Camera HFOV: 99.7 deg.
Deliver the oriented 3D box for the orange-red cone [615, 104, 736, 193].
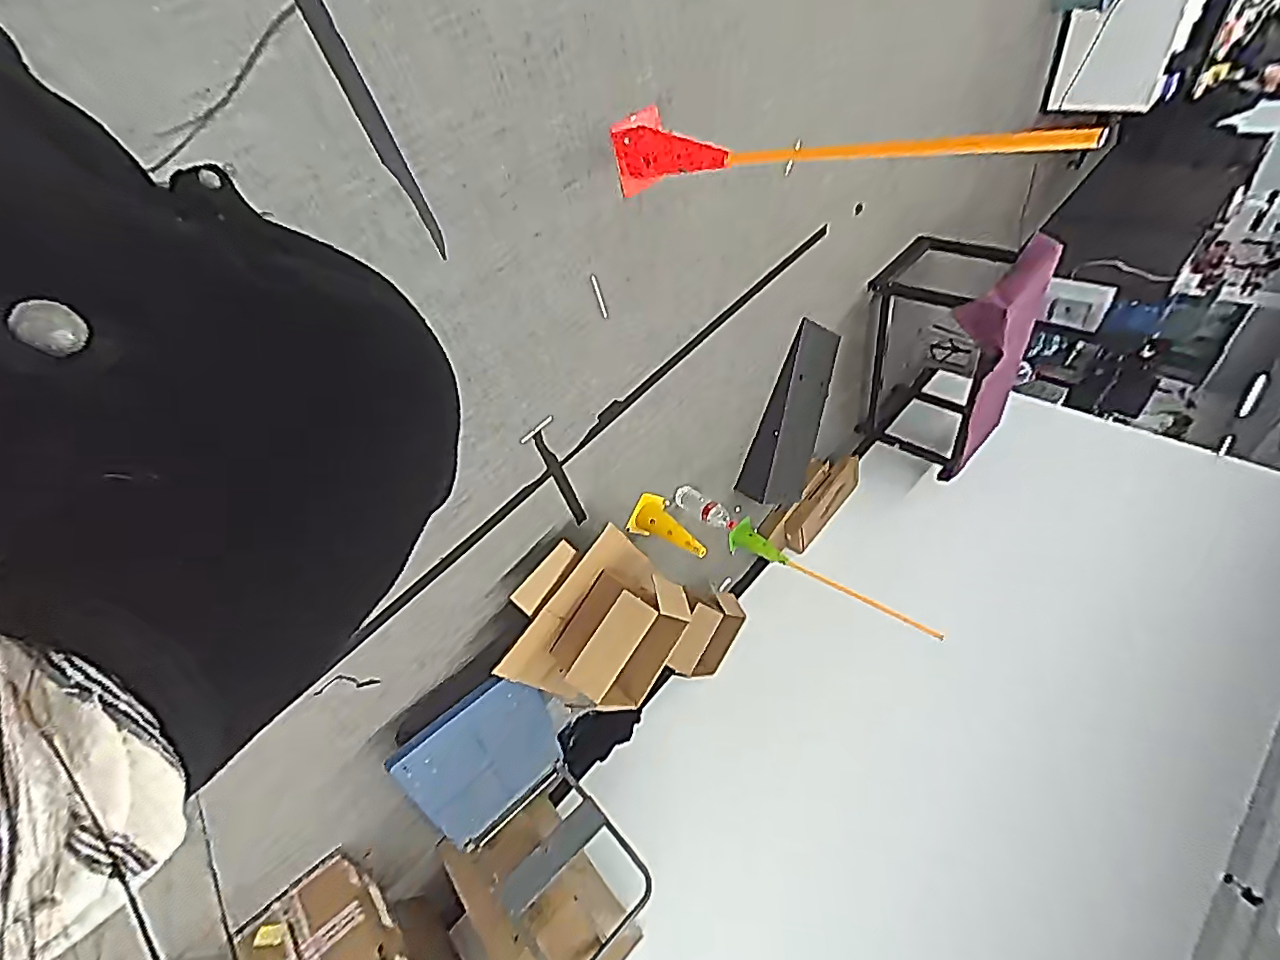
[{"bbox_3d":[0.126,-0.935,1.545,0.198,0.360,0.199,-40,141,-22],"label":"orange-red cone"}]
